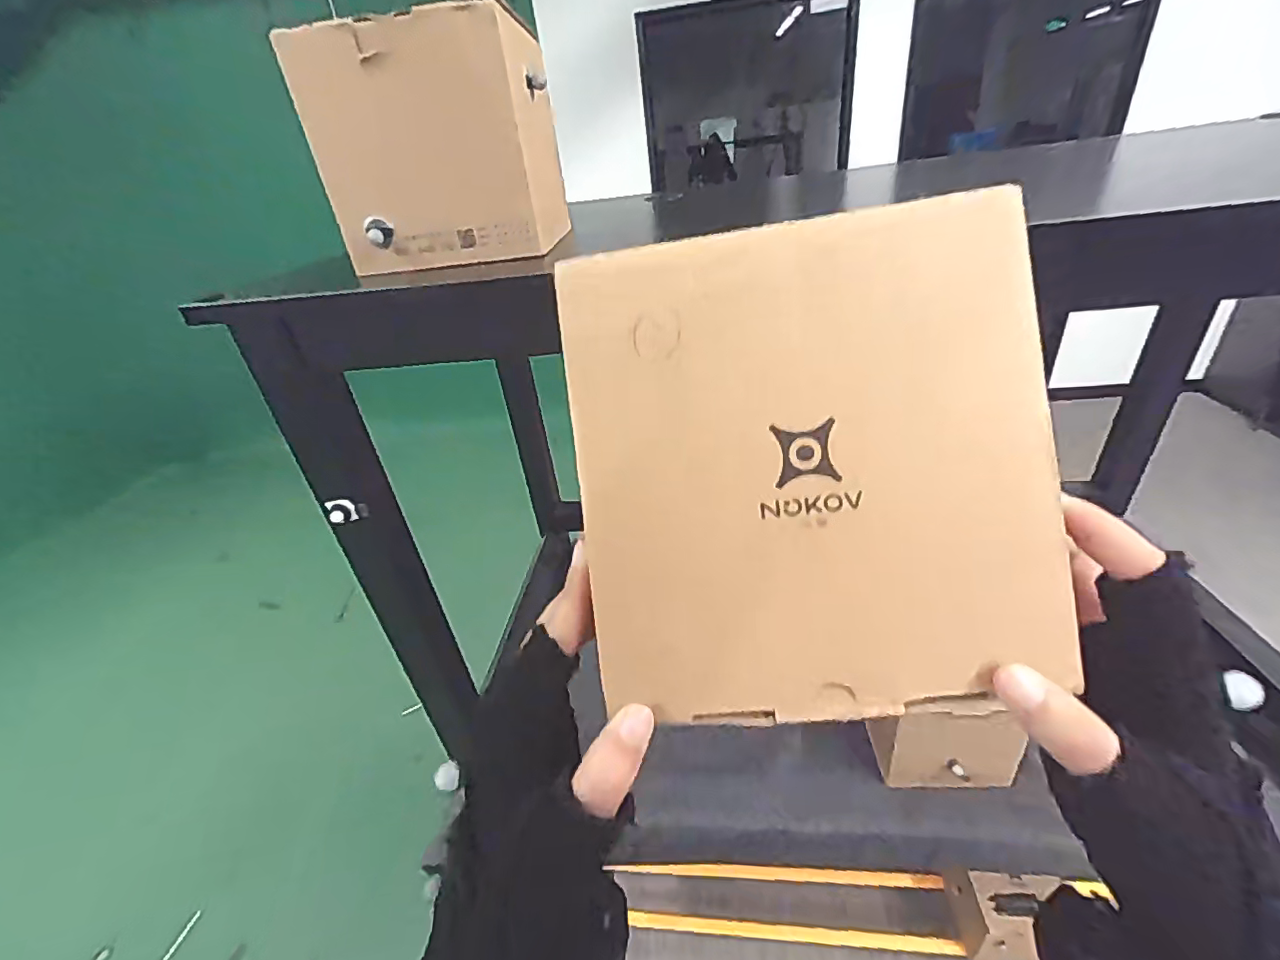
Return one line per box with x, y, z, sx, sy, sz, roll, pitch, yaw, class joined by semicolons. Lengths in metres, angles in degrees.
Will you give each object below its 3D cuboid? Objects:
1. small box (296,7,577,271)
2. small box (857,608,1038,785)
-0.158;-0.294;0.496;0.168;0.176;0.179;-4;30;4;small box
0.427;0.310;0.788;0.168;0.176;0.179;-4;30;7;small box
